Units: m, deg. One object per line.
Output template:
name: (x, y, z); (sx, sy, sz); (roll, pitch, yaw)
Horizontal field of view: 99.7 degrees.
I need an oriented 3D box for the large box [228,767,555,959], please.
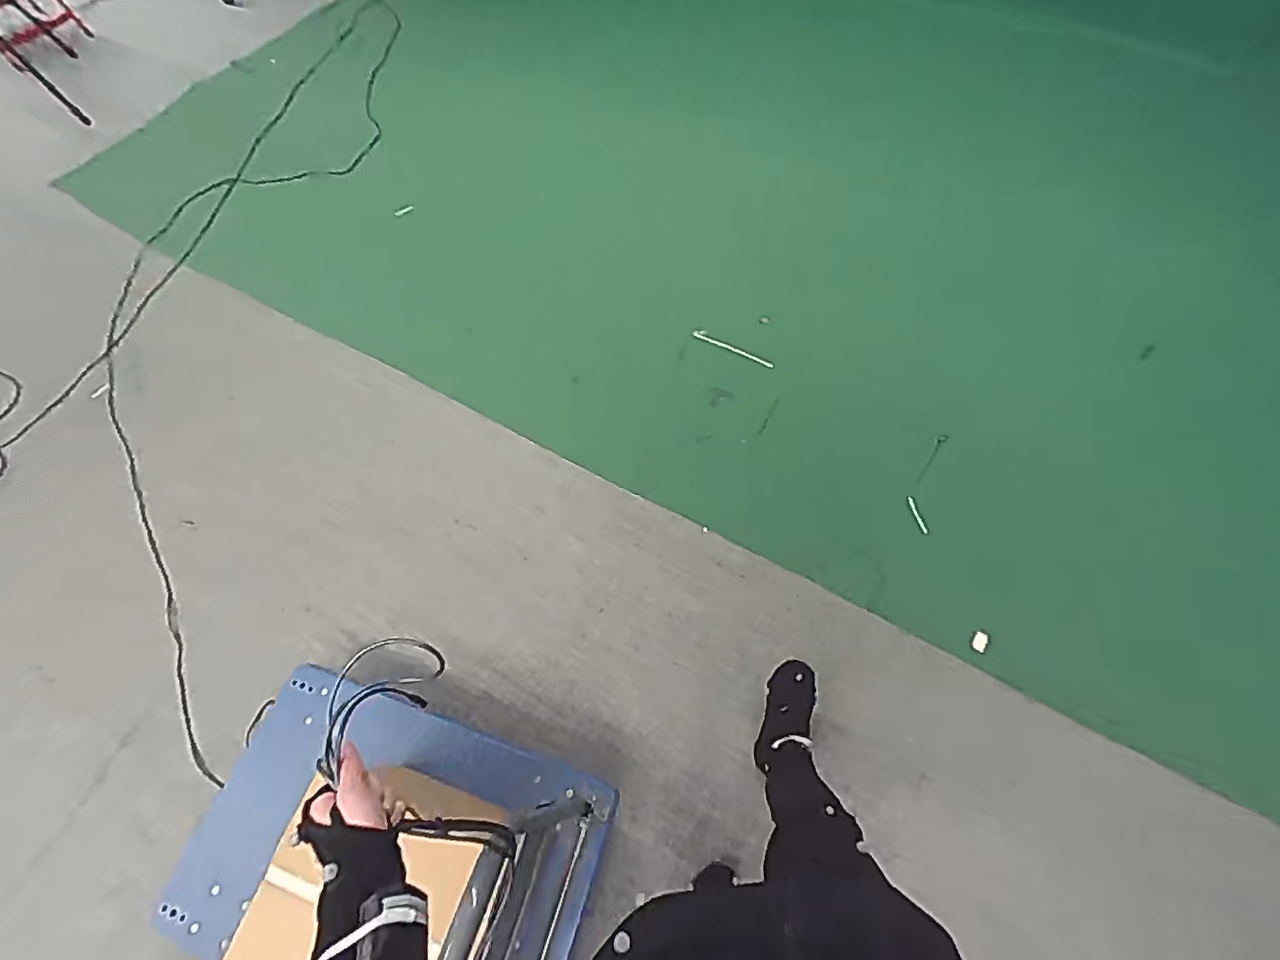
large box: (-0.422, 0.772, 1.009); (0.408, 0.320, 0.320); (14, 66, 13)
